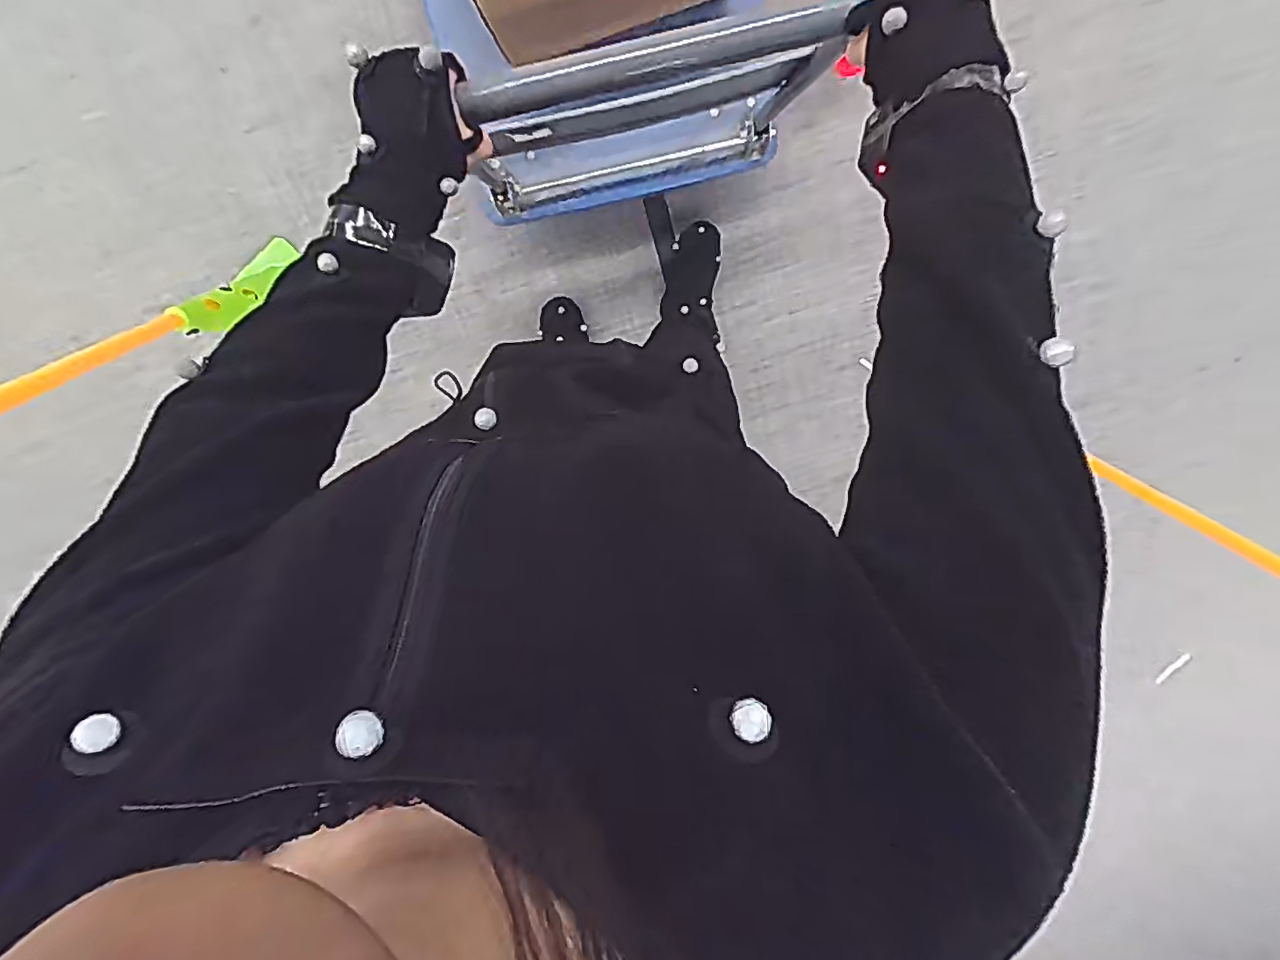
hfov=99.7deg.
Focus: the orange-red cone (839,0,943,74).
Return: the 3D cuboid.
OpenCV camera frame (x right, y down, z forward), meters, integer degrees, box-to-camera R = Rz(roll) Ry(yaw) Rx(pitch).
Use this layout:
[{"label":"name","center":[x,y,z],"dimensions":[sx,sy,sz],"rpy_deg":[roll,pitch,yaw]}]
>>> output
[{"label":"orange-red cone","center":[0.508,-0.877,0.930],"dimensions":[0.199,0.360,0.198],"rpy_deg":[-11,114,1]}]
